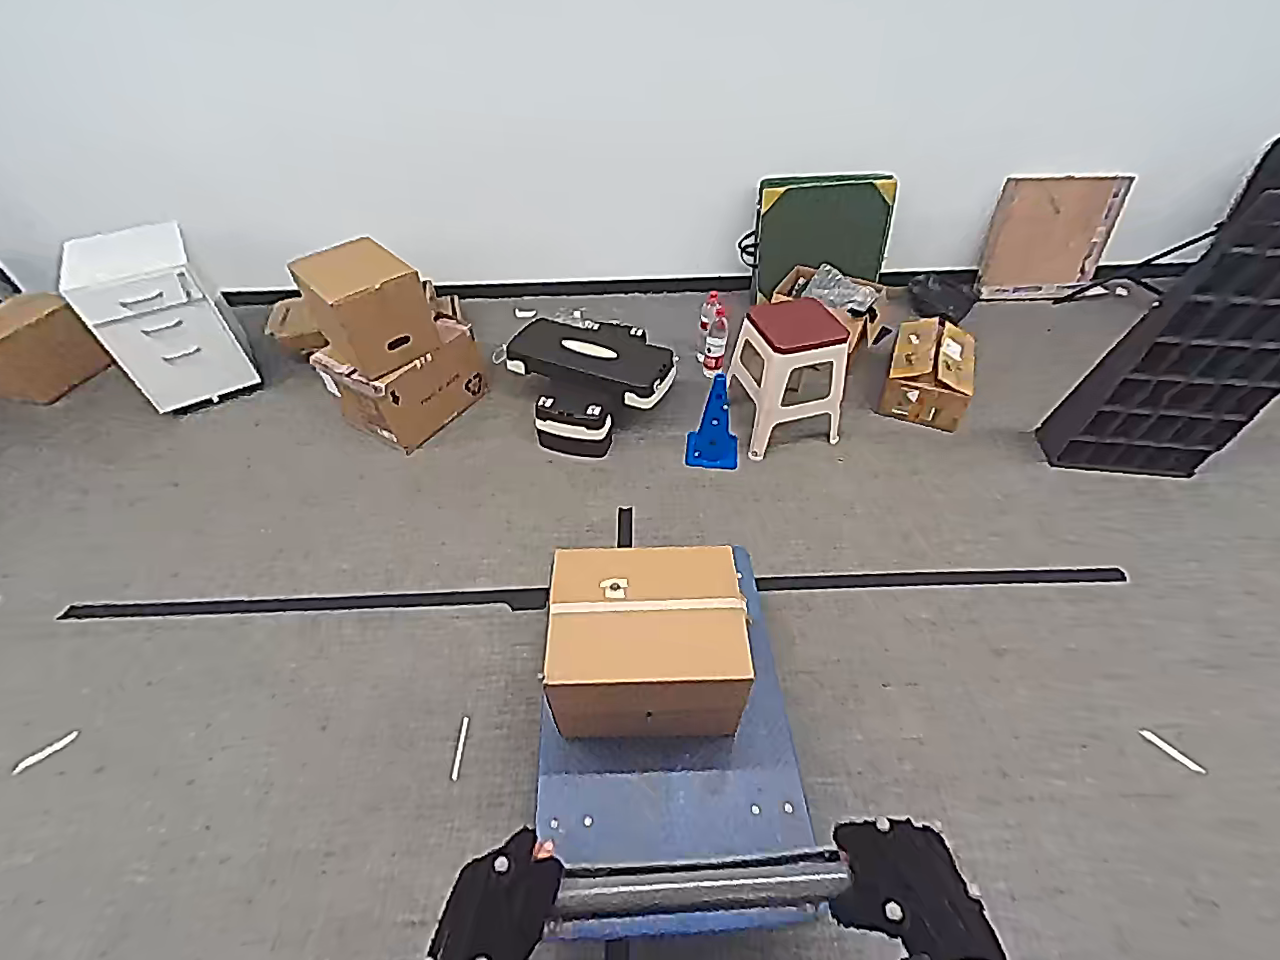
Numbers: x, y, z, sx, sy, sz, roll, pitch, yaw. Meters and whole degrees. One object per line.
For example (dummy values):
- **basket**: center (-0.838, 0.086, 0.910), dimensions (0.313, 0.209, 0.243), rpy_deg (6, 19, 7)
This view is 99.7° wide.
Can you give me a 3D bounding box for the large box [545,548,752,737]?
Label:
- **large box**: center (0.017, 0.377, 1.241), dimensions (0.408, 0.320, 0.320), rpy_deg (-2, 47, 0)
